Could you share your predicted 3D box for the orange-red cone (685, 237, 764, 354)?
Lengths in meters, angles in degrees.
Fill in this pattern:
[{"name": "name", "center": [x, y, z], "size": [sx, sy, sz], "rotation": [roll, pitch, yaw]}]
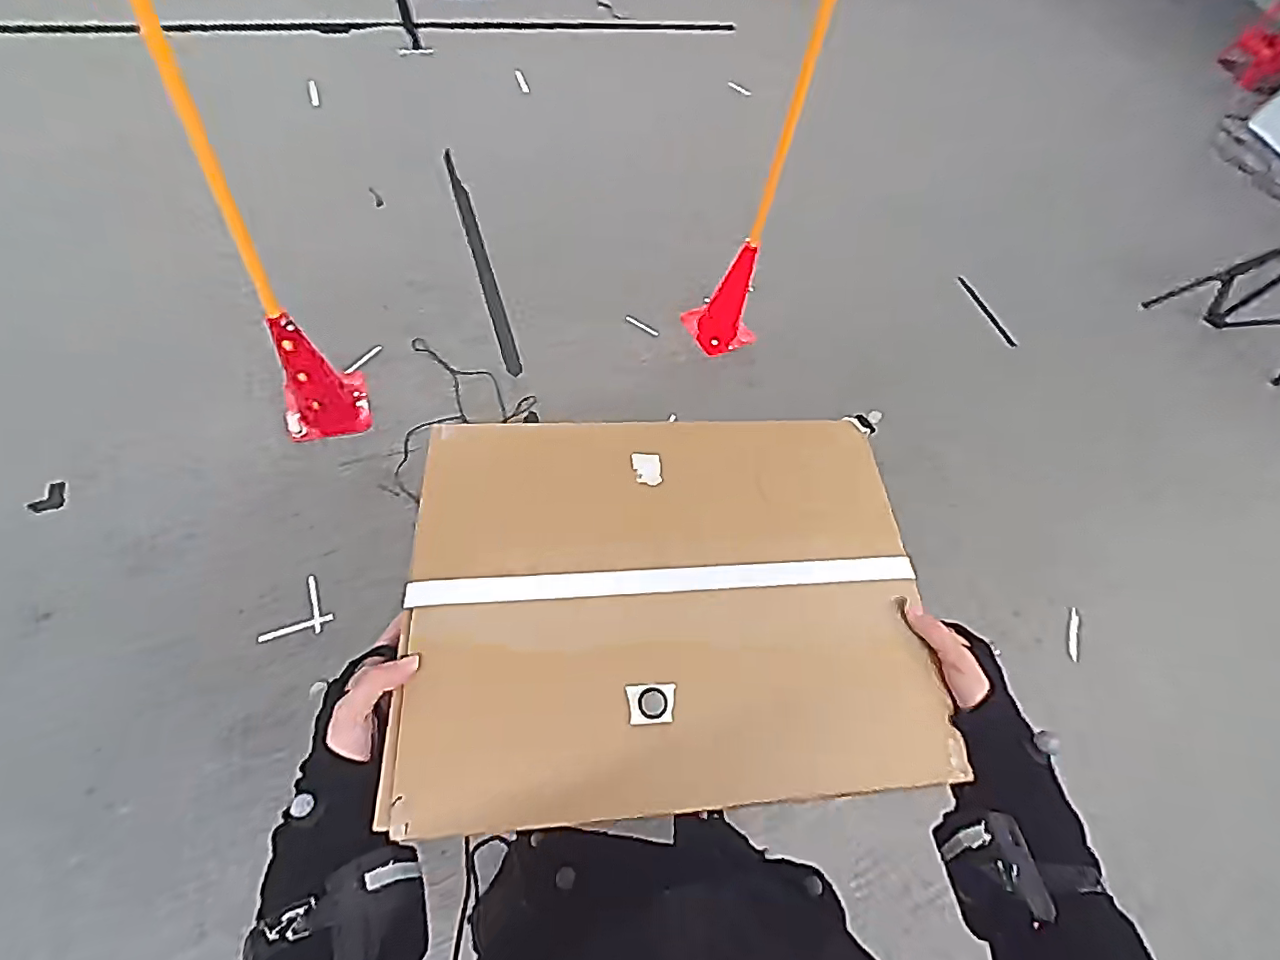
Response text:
[{"name": "orange-red cone", "center": [0.300, -0.593, 1.673], "size": [0.199, 0.360, 0.198], "rotation": [-23, 71, -21]}]
